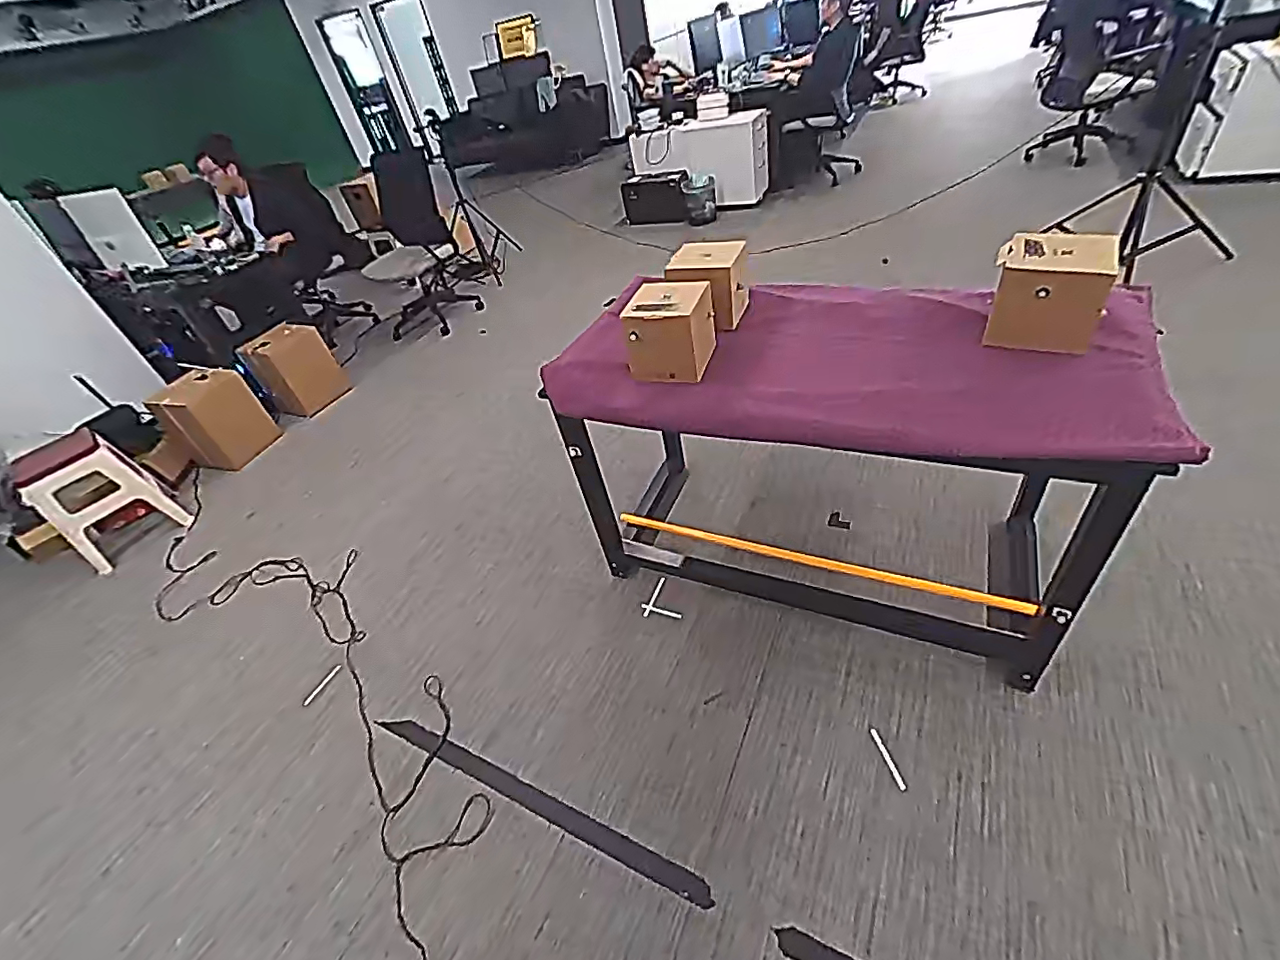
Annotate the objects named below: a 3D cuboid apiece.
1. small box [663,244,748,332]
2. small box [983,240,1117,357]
[{"bbox_3d":[0.180,-0.500,1.417,0.179,0.176,0.168,8,45,23],"label":"small box"},{"bbox_3d":[0.816,-0.366,1.088,0.179,0.176,0.168,17,51,29],"label":"small box"}]
